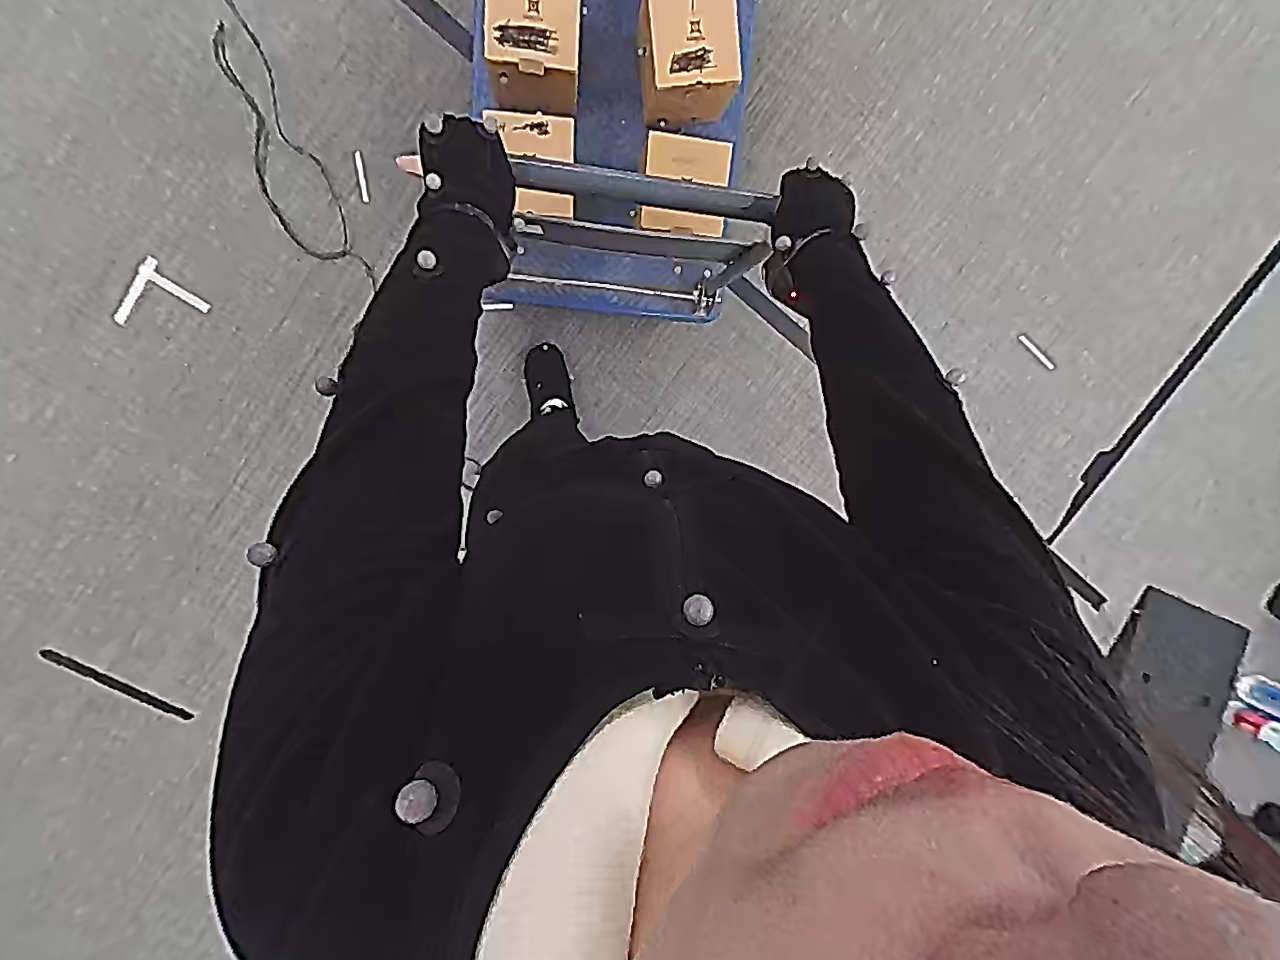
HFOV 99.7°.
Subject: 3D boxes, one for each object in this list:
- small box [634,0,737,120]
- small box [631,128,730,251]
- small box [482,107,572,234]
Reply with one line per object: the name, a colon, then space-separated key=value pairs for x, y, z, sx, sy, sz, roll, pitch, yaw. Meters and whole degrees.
small box: x=0.086 y=-0.841 z=1.070 sx=0.168 sy=0.176 sz=0.179 roll=-8 pitch=102 yaw=-6
small box: x=0.075 y=-0.589 z=1.123 sx=0.168 sy=0.176 sz=0.179 roll=4 pitch=101 yaw=-9
small box: x=-0.219 y=-0.602 z=1.077 sx=0.168 sy=0.176 sz=0.179 roll=0 pitch=102 yaw=-9
